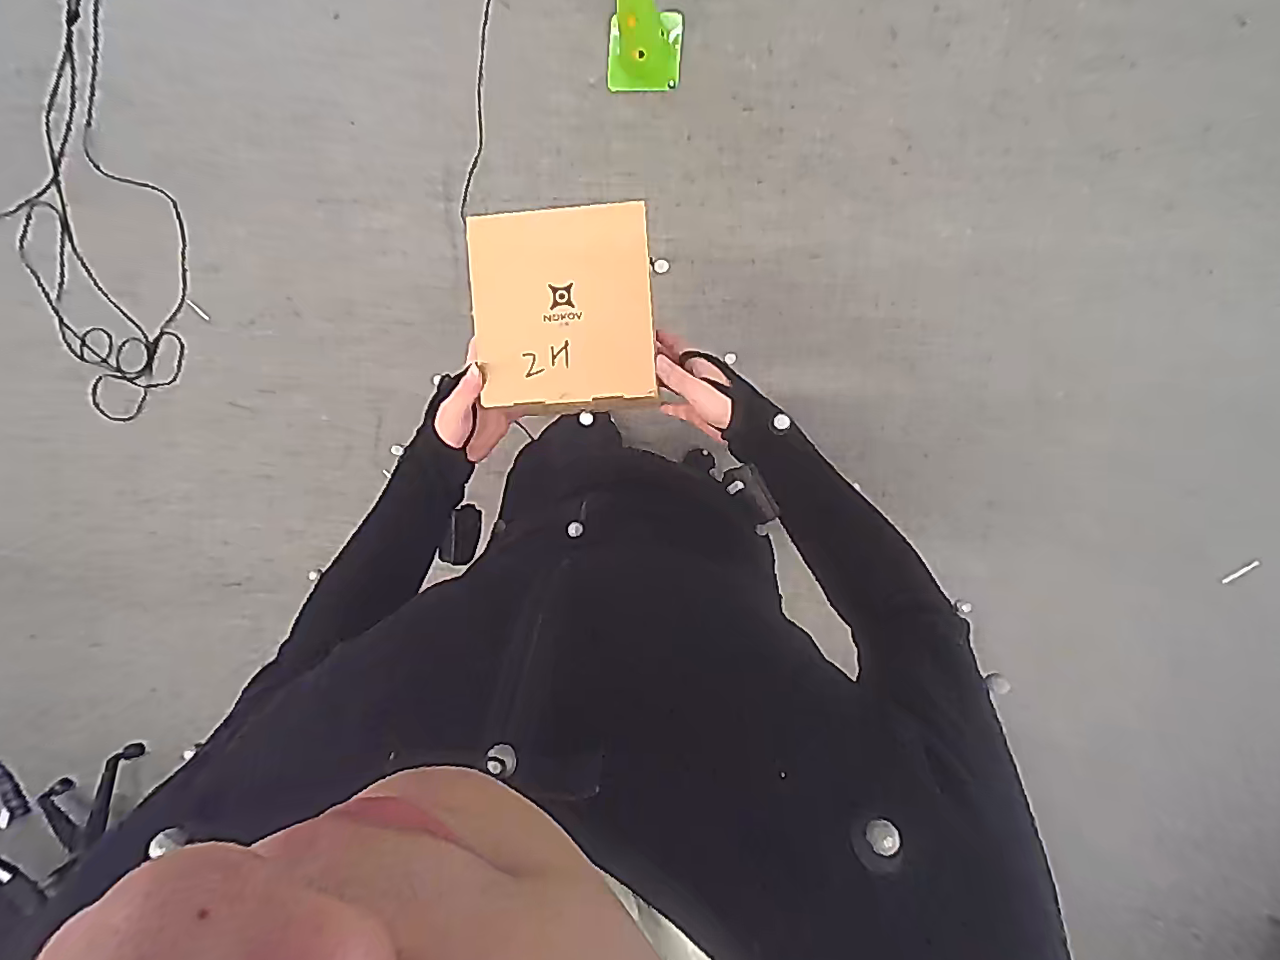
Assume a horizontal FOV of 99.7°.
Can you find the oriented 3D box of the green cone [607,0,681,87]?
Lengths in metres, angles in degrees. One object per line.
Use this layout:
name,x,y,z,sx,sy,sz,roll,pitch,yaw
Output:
green cone,-0.016,-1.178,1.323,0.202,0.368,0.200,5,96,8
